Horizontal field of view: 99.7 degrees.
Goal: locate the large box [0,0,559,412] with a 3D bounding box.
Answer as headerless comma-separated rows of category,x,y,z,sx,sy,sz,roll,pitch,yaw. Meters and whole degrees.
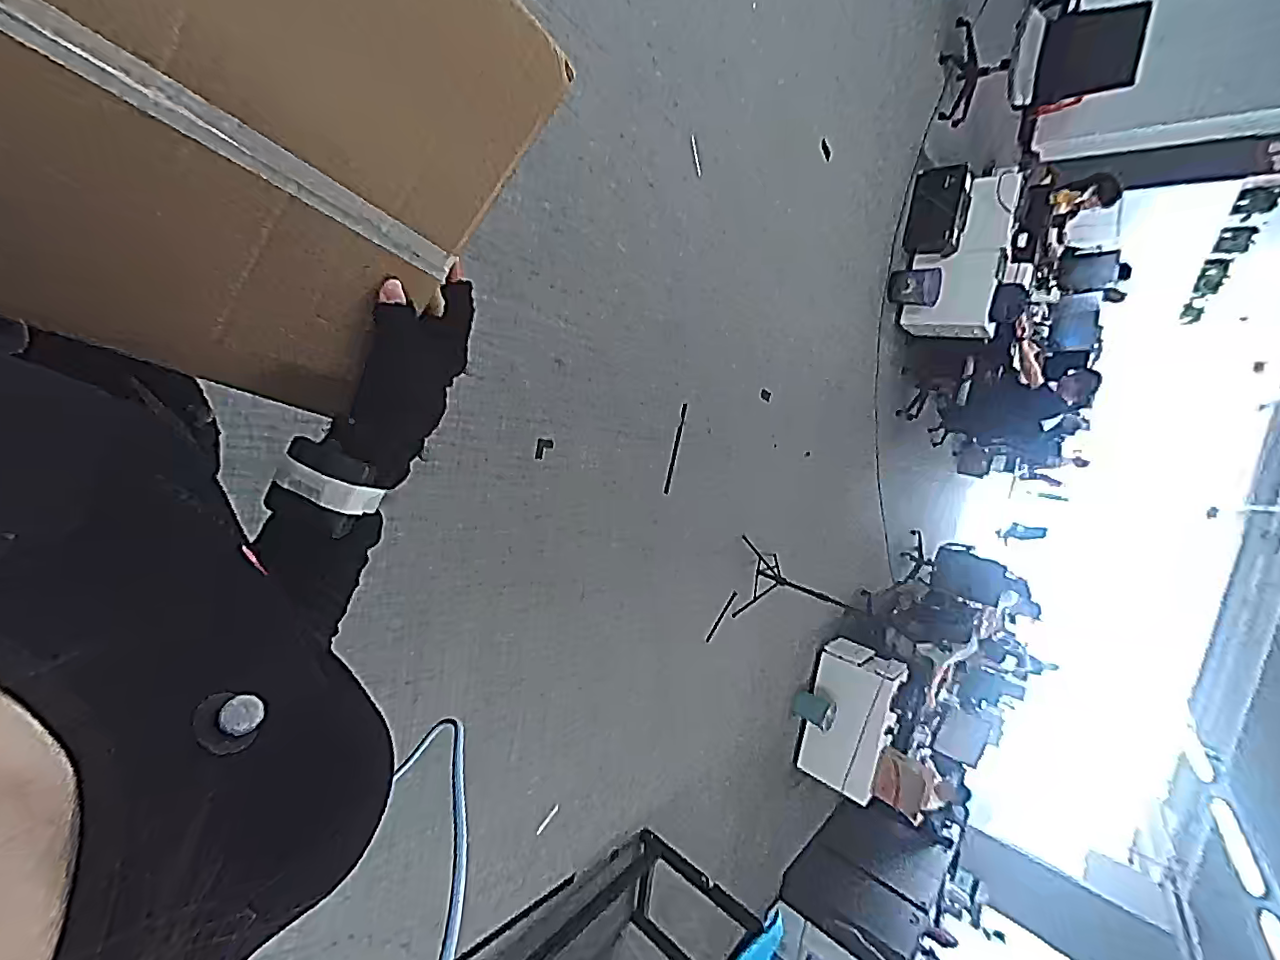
large box,-0.338,-0.305,0.340,0.320,0.320,0.408,-46,142,20
